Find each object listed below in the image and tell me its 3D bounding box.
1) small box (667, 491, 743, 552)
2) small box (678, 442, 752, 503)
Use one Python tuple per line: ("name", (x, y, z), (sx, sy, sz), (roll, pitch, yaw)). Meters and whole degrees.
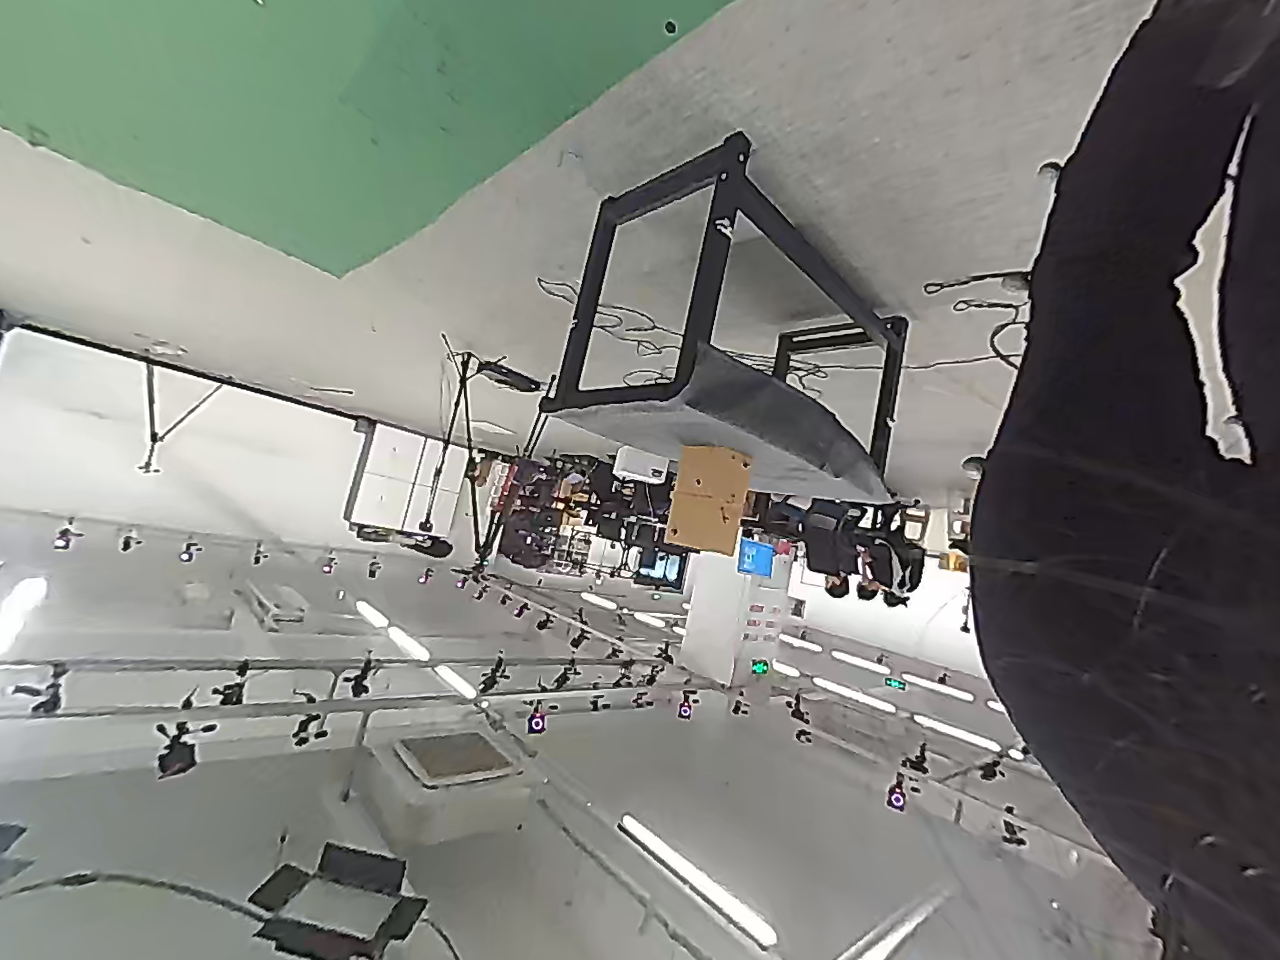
("small box", (0.219, 0.134, 1.796), (0.168, 0.176, 0.179), (16, 173, -40))
("small box", (0.253, -0.027, 1.792), (0.168, 0.176, 0.179), (17, 174, -41))
